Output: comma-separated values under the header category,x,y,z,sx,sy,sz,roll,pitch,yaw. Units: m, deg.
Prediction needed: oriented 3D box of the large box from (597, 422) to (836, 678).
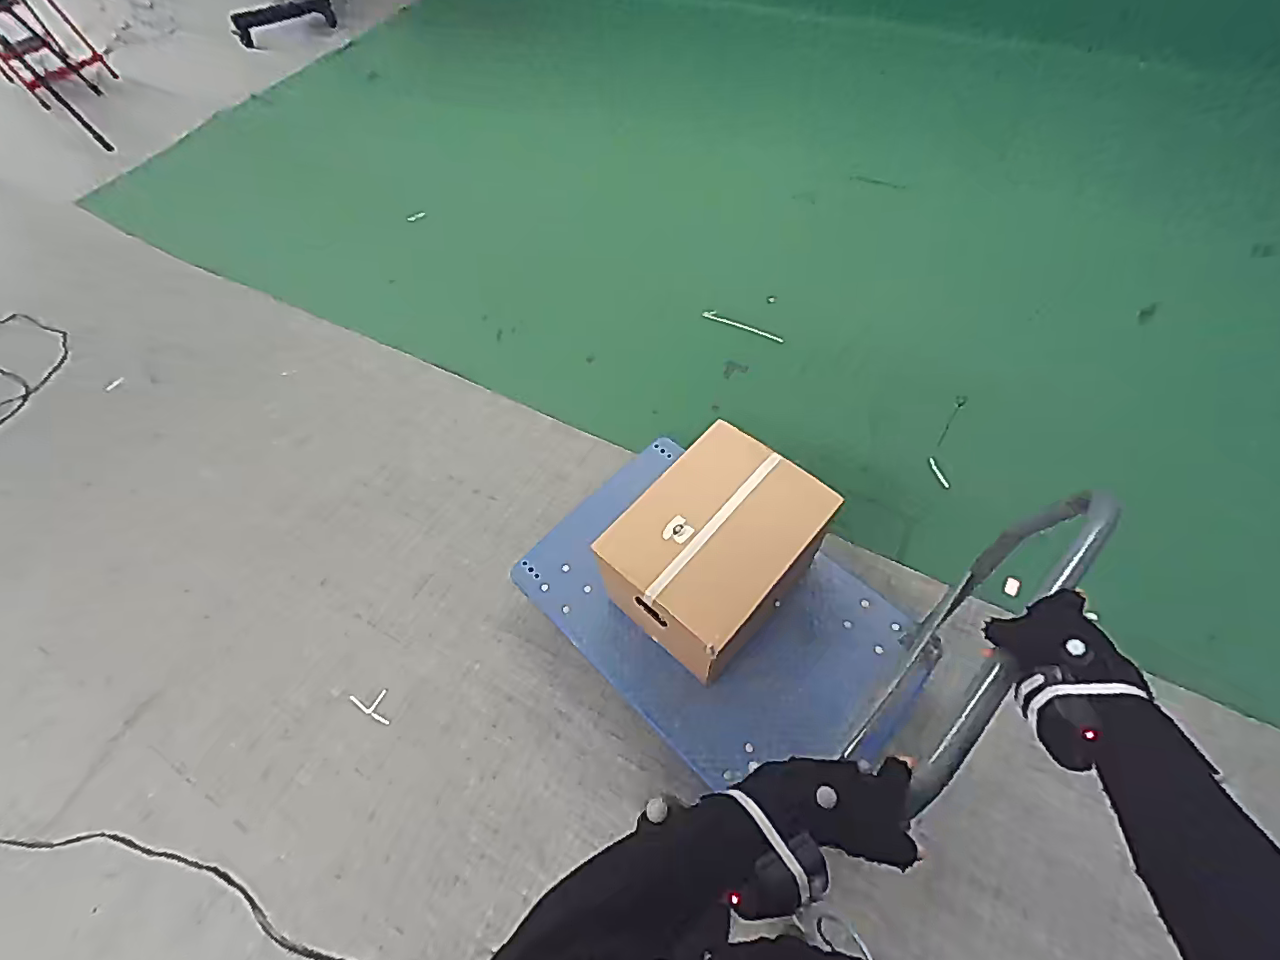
category,x,y,z,sx,sy,sz,roll,pitch,yaw
large box,0.167,0.159,1.198,0.320,0.320,0.408,36,70,23
